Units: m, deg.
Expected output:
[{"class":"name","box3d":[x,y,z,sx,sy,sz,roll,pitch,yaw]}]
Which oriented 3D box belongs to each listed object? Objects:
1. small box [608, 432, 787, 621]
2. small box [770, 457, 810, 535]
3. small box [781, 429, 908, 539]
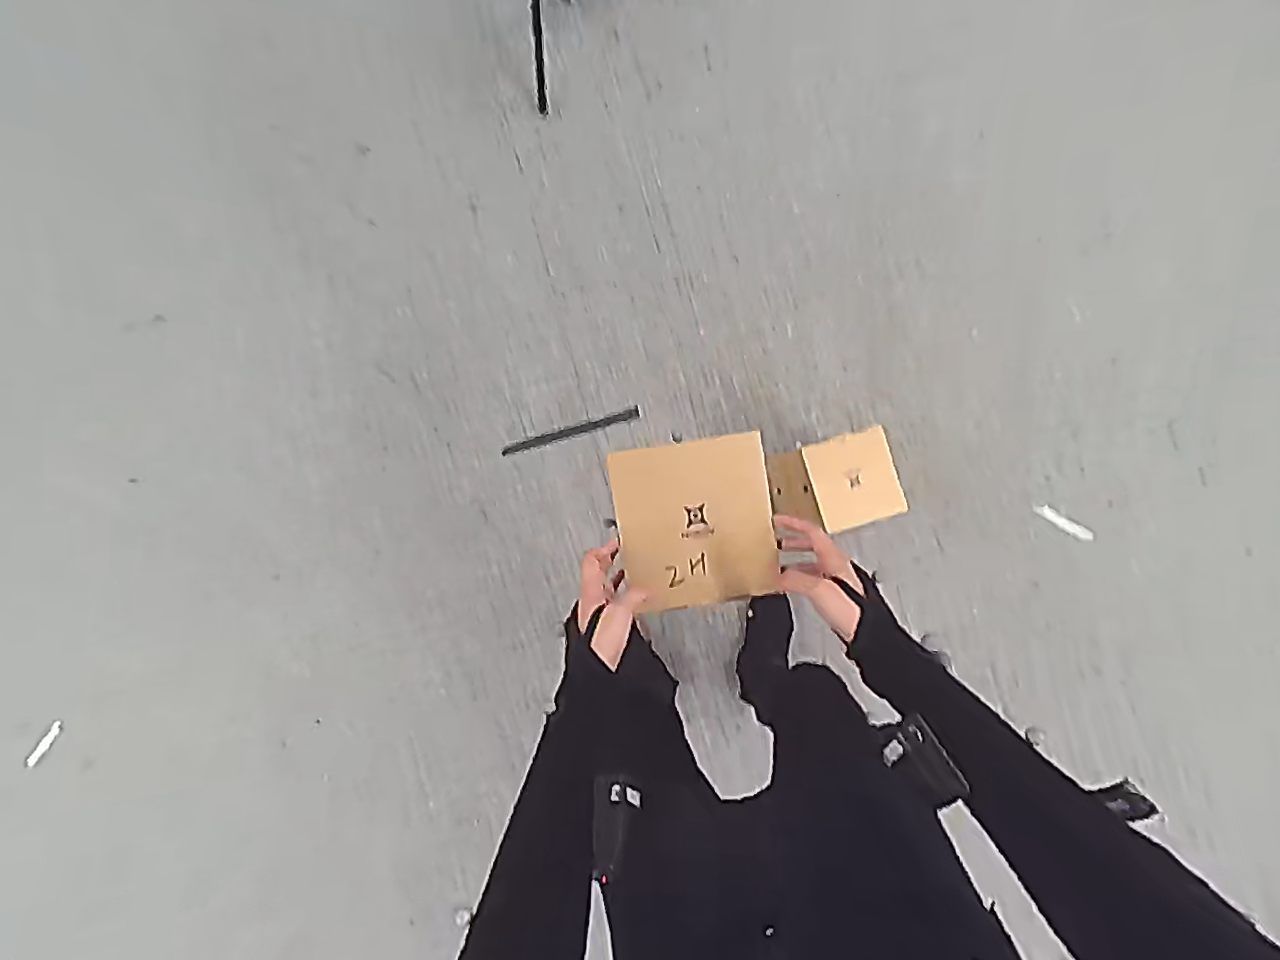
[{"class":"small box","box3d":[0.054,0.046,0.627,0.168,0.176,0.179,-9,92,-3]},{"class":"small box","box3d":[0.404,0.018,1.268,0.168,0.176,0.179,-18,87,-1]},{"class":"small box","box3d":[0.408,0.010,1.106,0.168,0.176,0.179,-17,87,-1]}]
